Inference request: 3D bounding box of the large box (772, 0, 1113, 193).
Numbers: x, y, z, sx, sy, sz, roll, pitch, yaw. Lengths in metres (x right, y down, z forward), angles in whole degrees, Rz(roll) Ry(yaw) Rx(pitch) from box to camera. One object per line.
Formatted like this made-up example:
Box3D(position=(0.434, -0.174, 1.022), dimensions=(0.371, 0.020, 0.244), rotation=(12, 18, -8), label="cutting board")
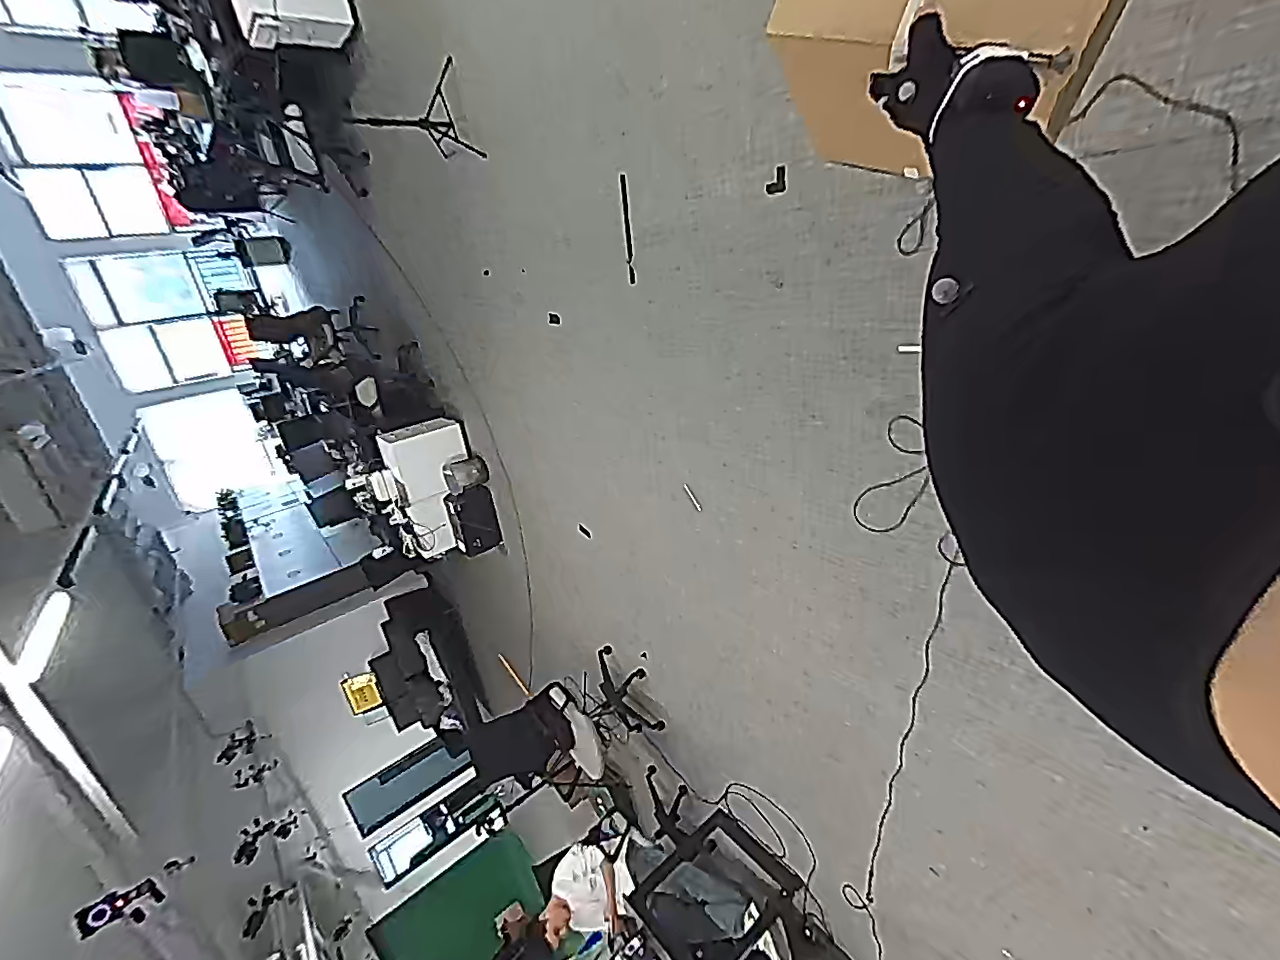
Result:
Box3D(position=(0.408, -0.634, 0.647), dimensions=(0.320, 0.320, 0.408), rotation=(27, 106, 25), label="large box")
